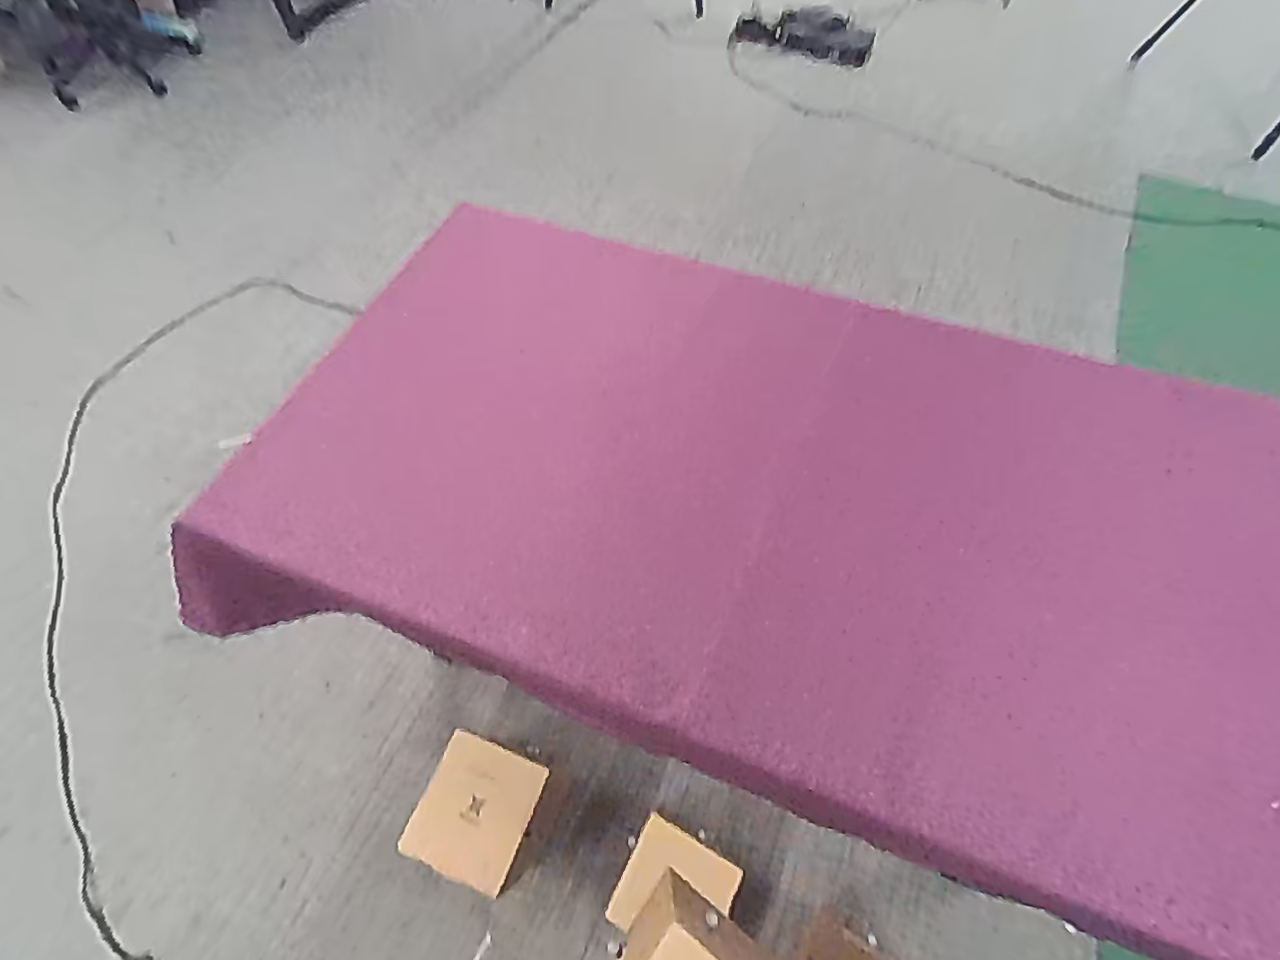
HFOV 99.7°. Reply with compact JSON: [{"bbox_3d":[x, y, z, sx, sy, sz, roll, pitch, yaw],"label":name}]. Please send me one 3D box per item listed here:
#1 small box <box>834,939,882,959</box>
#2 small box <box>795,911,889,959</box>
[{"bbox_3d":[0.342,0.777,0.724,0.168,0.176,0.179,26,65,15],"label":"small box"},{"bbox_3d":[0.345,0.851,0.871,0.168,0.176,0.179,30,64,17],"label":"small box"}]
